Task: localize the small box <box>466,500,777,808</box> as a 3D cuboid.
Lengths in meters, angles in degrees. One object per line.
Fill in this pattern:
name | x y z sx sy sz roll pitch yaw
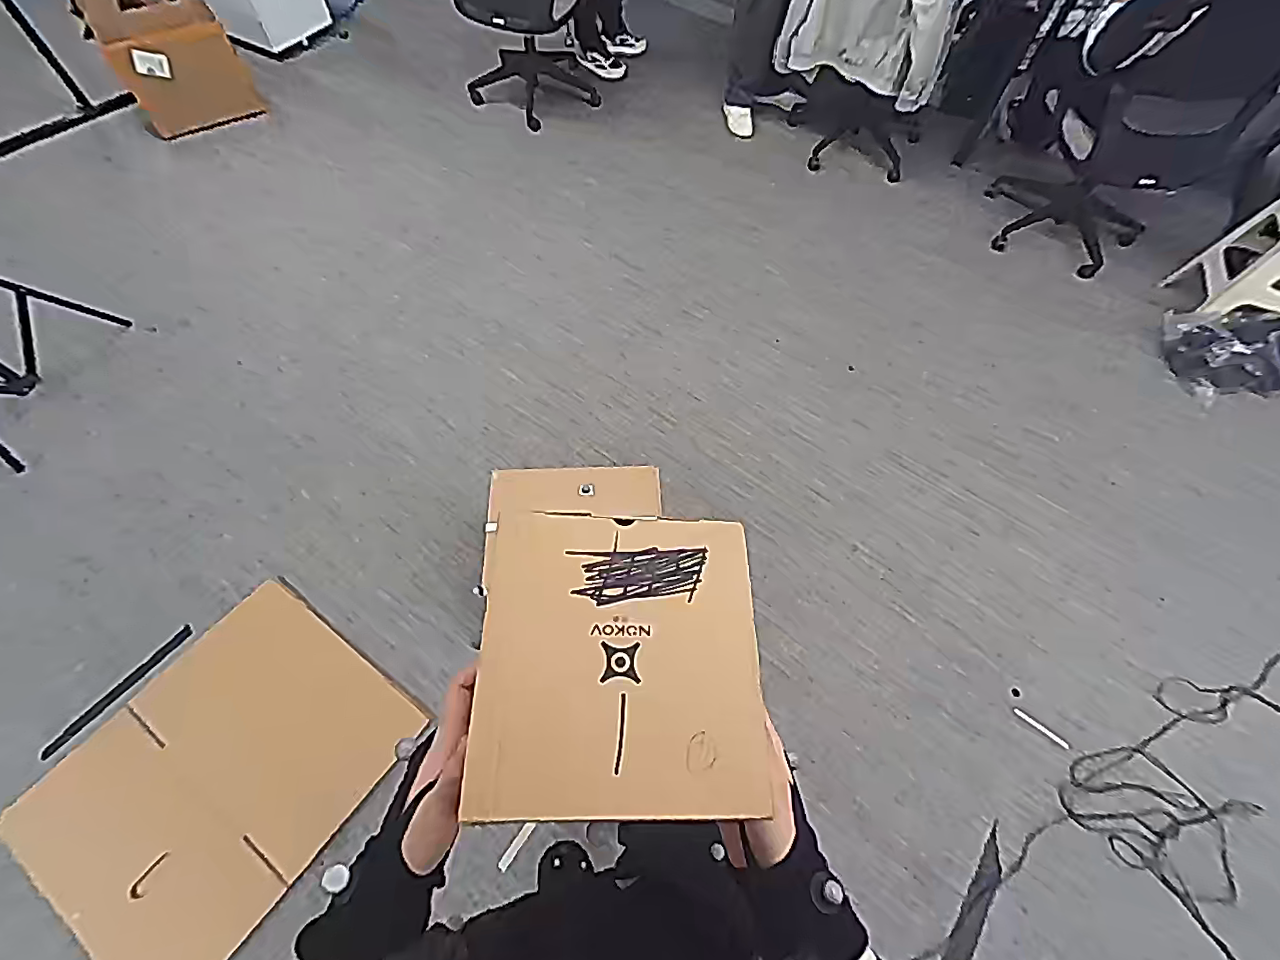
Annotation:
small box | -0.017 0.133 0.389 0.168 0.176 0.179 2 60 -5
